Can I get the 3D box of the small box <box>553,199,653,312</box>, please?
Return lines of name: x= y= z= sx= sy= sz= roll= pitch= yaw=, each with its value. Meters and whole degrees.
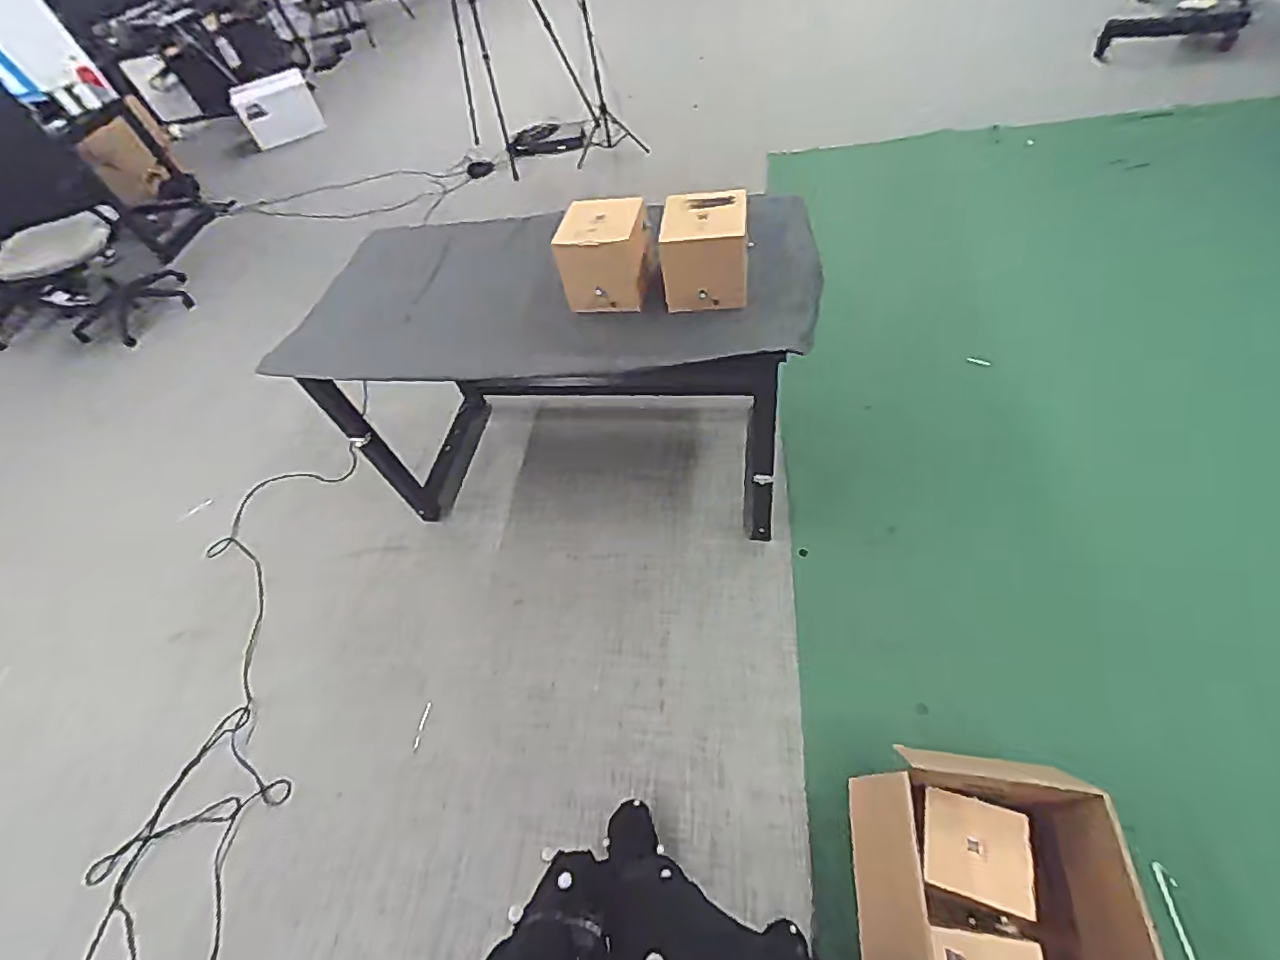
small box: x=-0.071 y=-0.494 z=1.196 sx=0.168 sy=0.176 sz=0.179 roll=4 pitch=55 yaw=14
